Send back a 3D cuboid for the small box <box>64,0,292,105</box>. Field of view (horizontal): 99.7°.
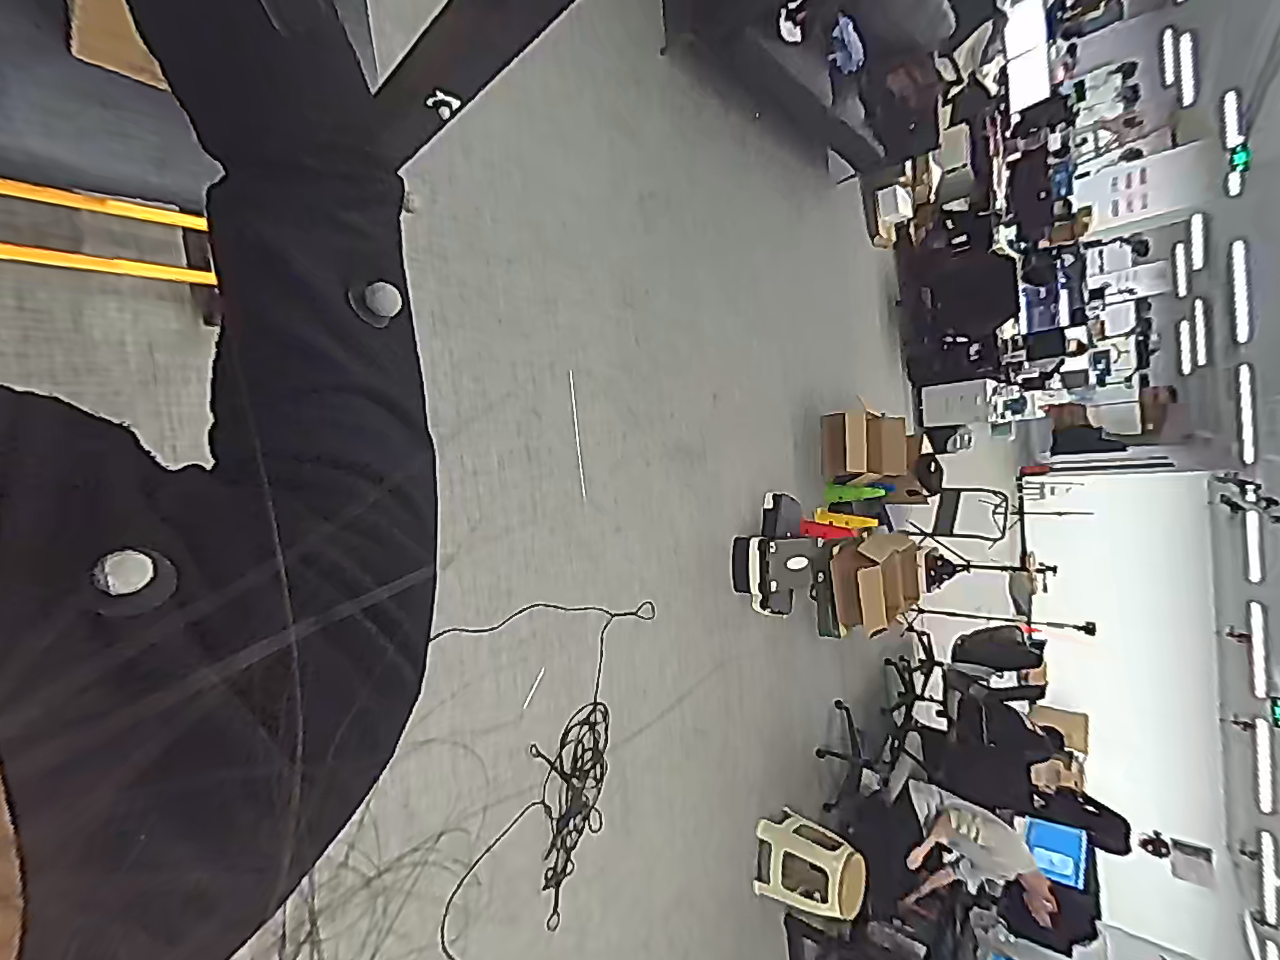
[{"bbox_3d":[-0.489,-0.548,0.570,0.168,0.176,0.179,-4,91,-49],"label":"small box"}]
